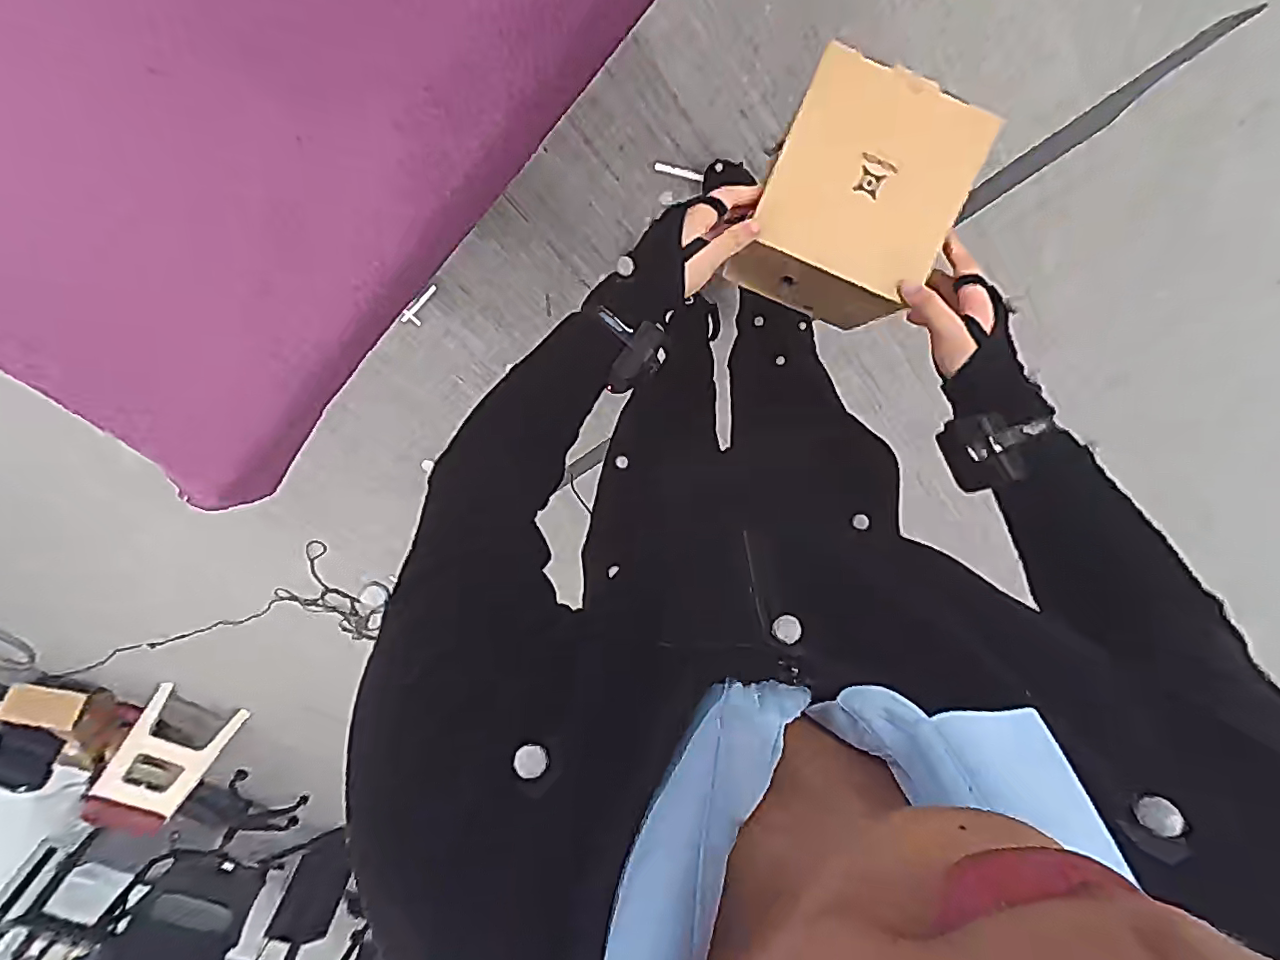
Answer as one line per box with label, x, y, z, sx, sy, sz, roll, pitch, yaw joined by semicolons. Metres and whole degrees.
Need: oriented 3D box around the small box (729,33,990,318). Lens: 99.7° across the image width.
small box;0.201;-0.286;0.557;0.168;0.176;0.179;22;96;-1
